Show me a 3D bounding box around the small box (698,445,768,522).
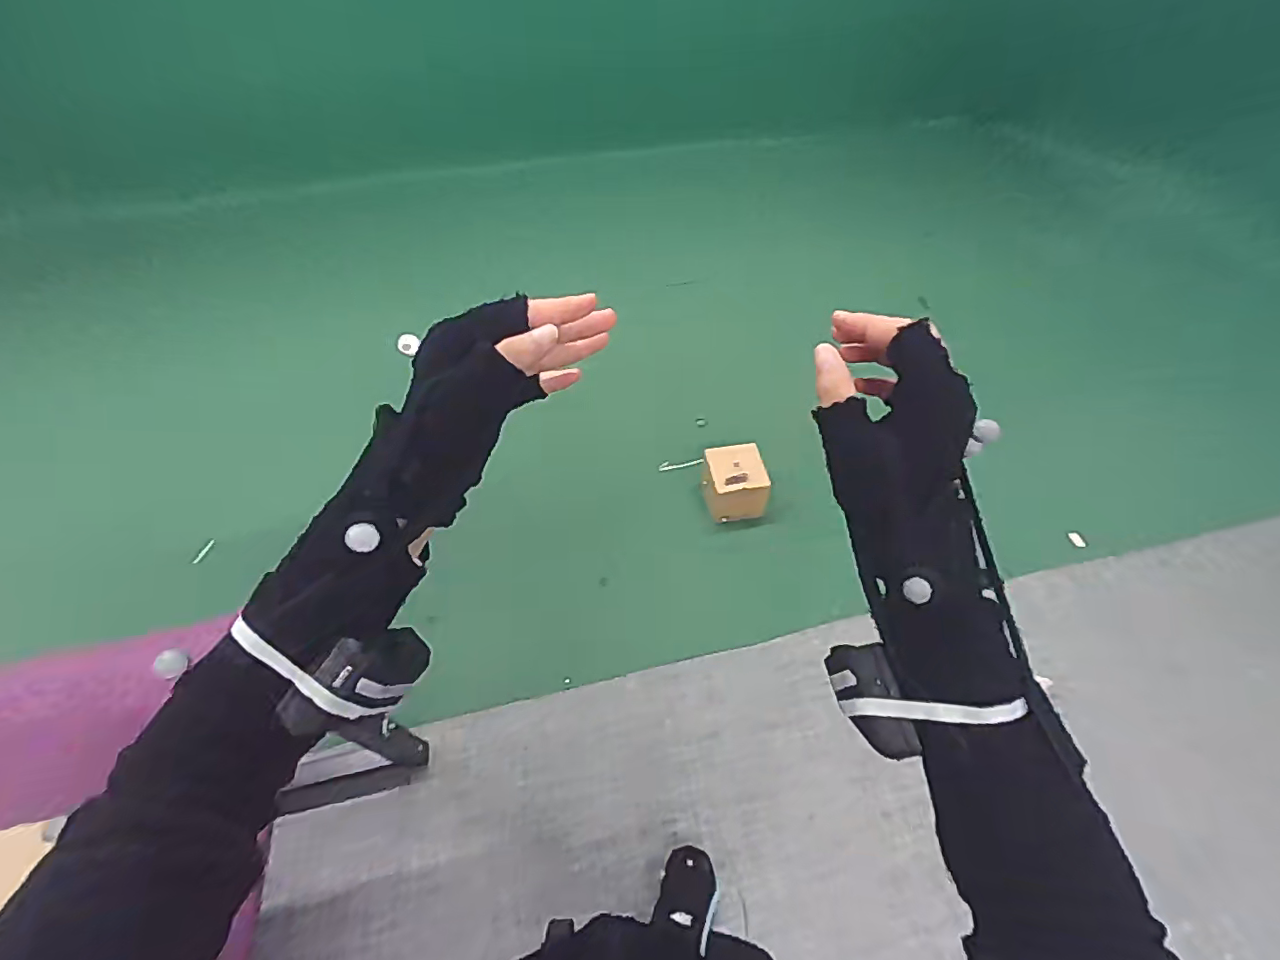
[{"bbox_3d":[0.286,0.018,1.708,0.168,0.176,0.179,-10,55,-7],"label":"small box"}]
